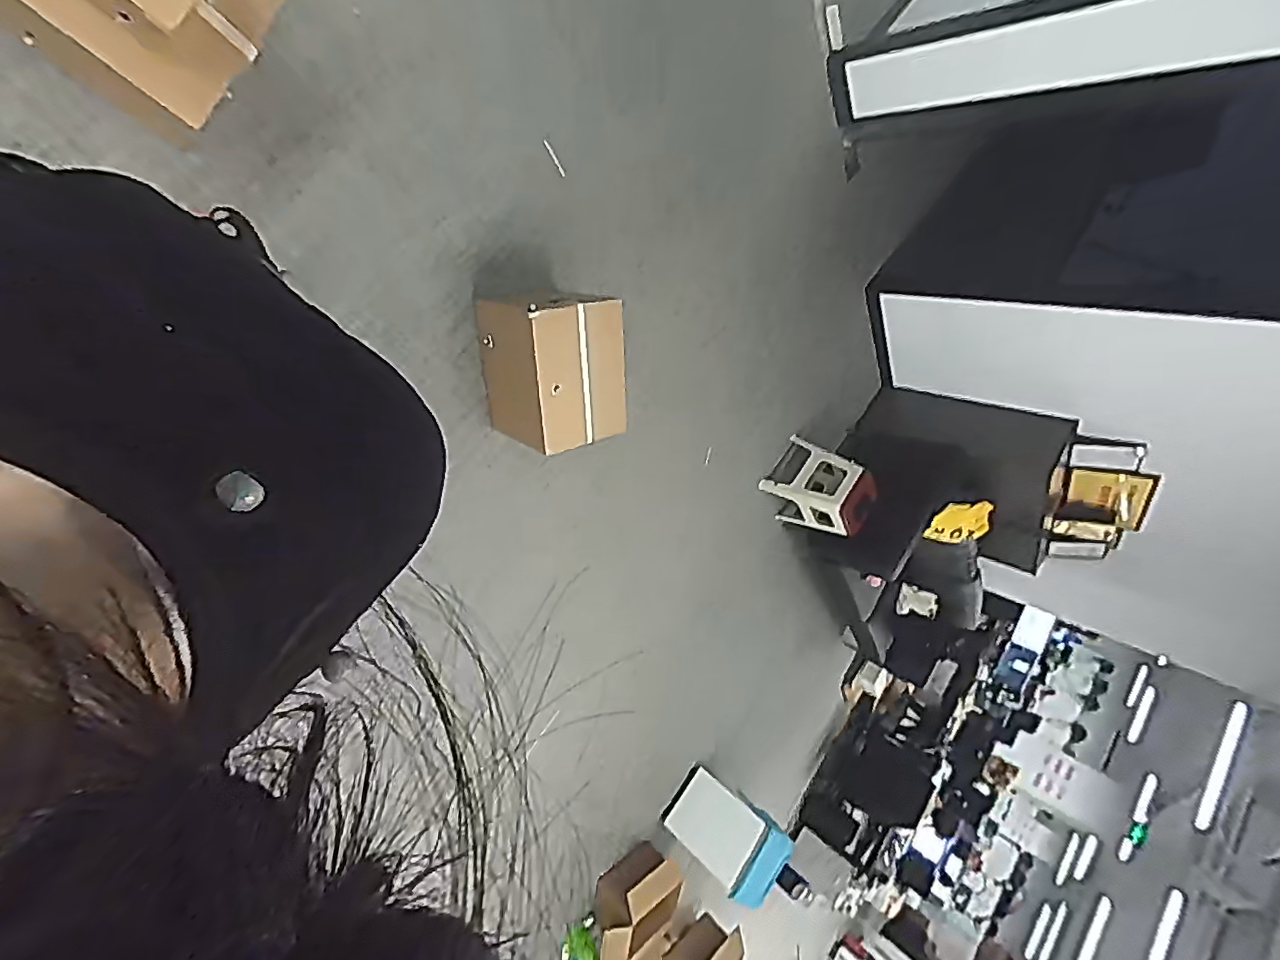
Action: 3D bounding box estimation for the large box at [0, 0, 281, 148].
[{"bbox_3d":[-0.845,-0.805,0.826,0.408,0.320,0.320,34,82,-47],"label":"large box"}]

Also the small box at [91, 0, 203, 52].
[{"bbox_3d":[-0.660,-0.703,0.694,0.168,0.176,0.179,35,82,-48],"label":"small box"}]
